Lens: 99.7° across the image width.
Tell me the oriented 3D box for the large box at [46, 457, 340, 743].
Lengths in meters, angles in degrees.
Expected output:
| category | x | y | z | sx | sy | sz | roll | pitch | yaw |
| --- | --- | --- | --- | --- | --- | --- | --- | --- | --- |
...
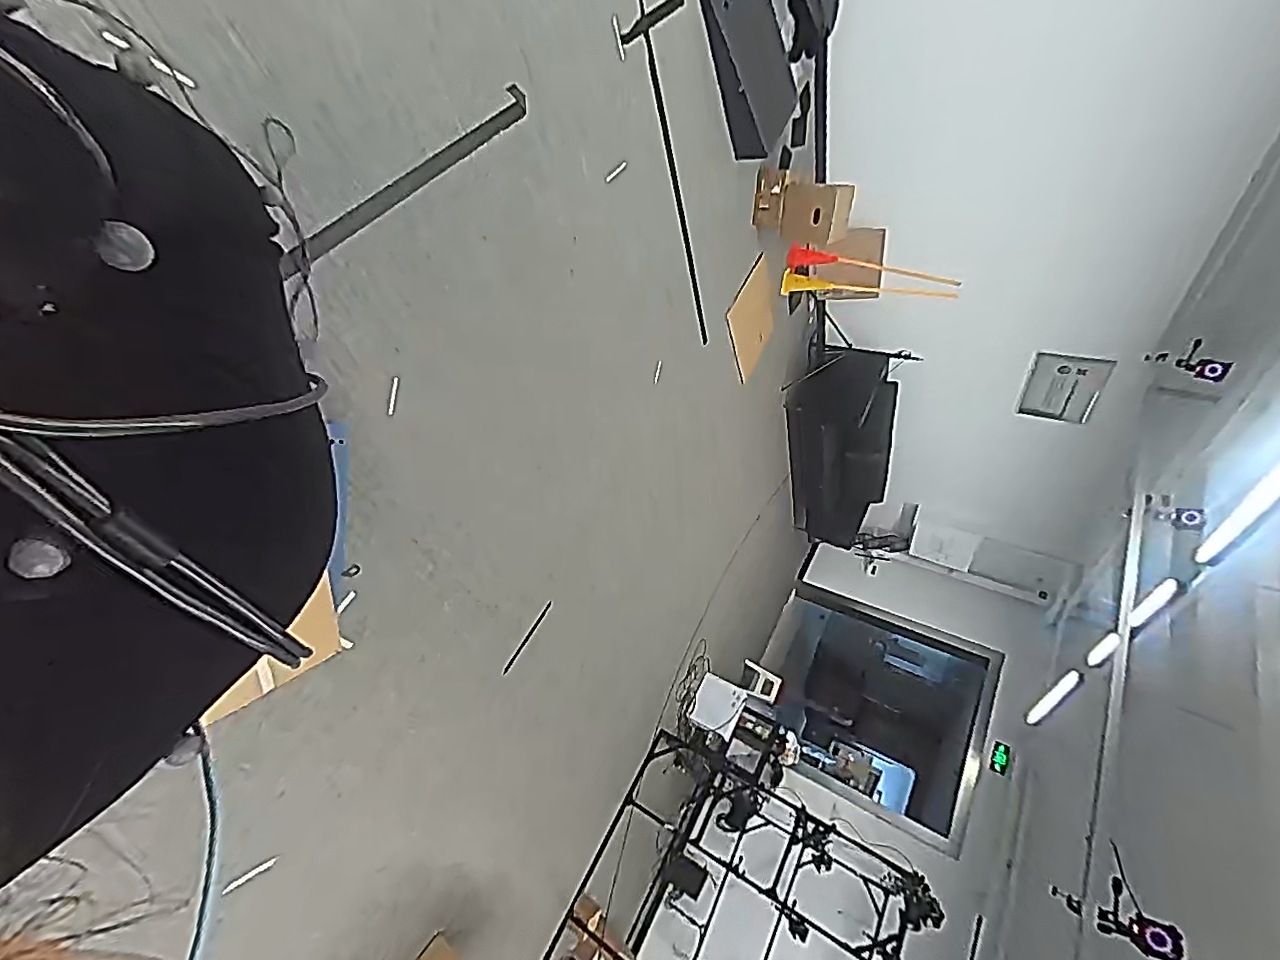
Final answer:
| category | x | y | z | sx | sy | sz | roll | pitch | yaw |
| --- | --- | --- | --- | --- | --- | --- | --- | --- | --- |
| large box | -0.865 | 0.211 | 1.083 | 0.320 | 0.320 | 0.408 | -27 | 128 | -51 |
